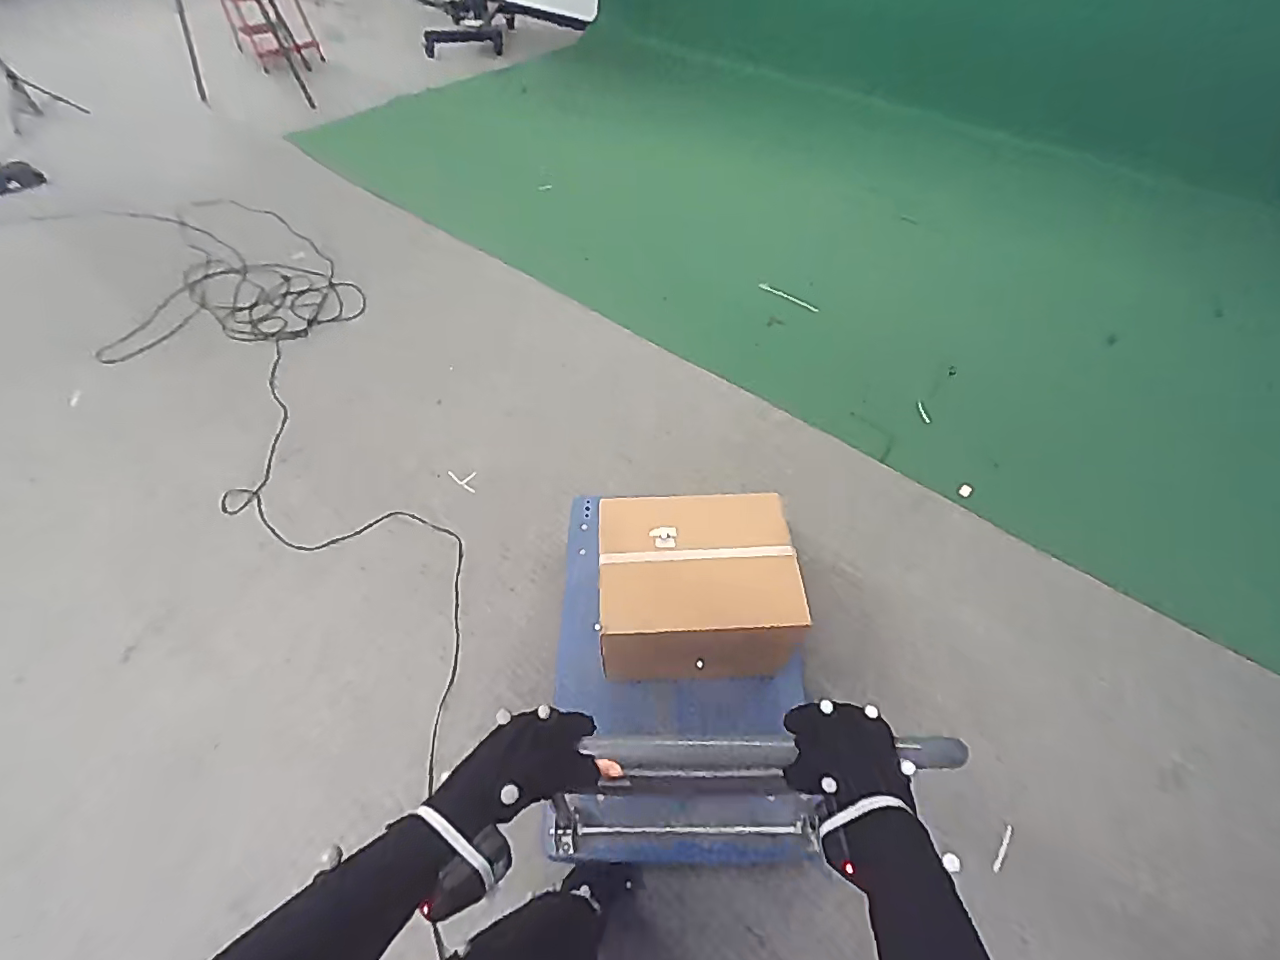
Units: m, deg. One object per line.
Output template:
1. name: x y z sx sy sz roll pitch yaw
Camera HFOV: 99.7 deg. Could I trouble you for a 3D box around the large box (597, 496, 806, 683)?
1. large box: 0.113 0.258 1.237 0.408 0.320 0.320 -2 52 -2
